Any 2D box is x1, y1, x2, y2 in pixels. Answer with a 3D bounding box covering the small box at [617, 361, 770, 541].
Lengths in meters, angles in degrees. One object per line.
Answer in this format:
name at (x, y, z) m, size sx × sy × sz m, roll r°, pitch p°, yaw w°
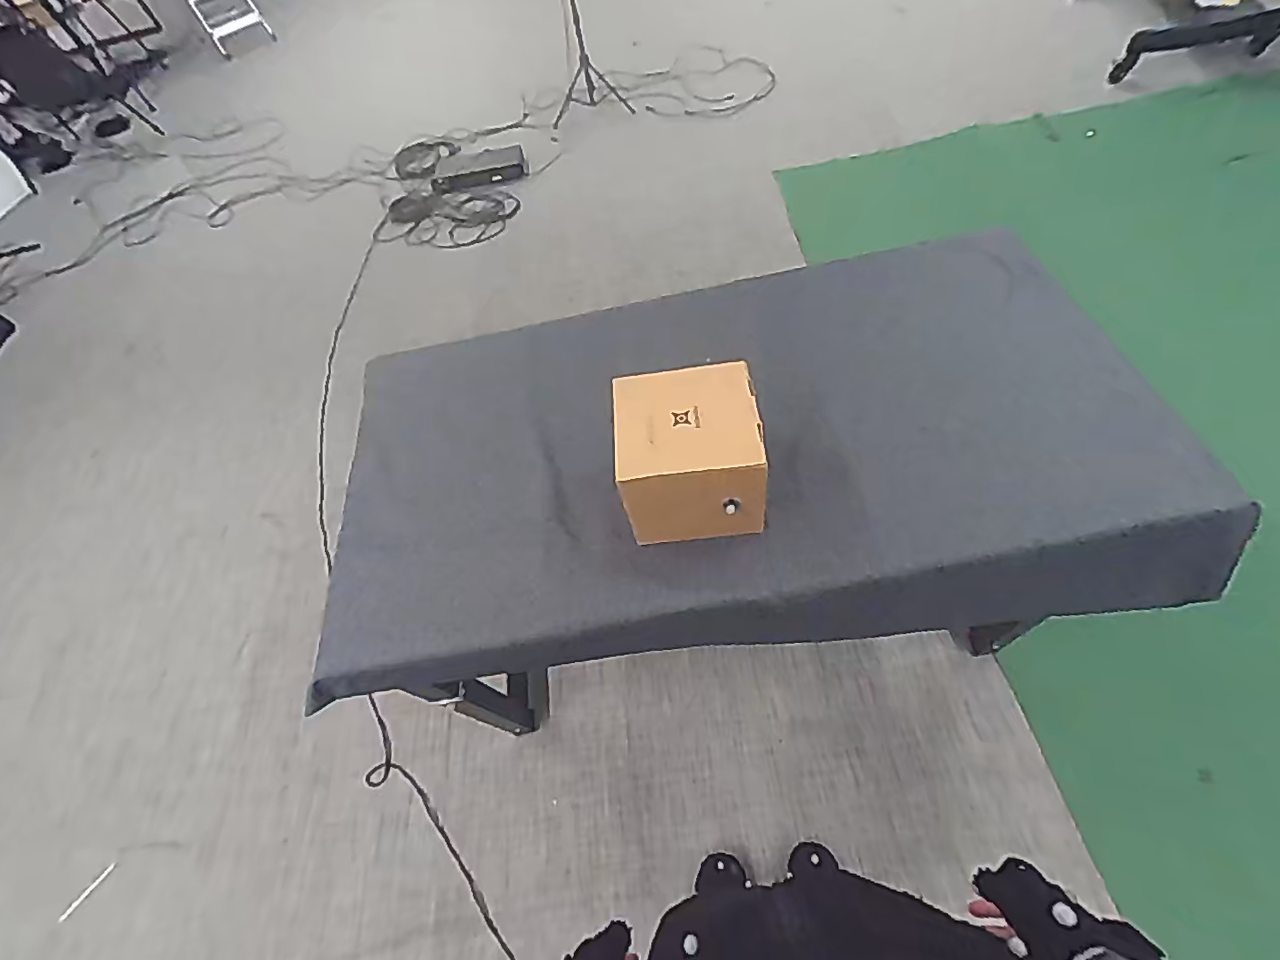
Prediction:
small box at (0.071, -0.032, 0.728) m, size 0.179 × 0.176 × 0.168 m, roll -8°, pitch 55°, yaw 6°
